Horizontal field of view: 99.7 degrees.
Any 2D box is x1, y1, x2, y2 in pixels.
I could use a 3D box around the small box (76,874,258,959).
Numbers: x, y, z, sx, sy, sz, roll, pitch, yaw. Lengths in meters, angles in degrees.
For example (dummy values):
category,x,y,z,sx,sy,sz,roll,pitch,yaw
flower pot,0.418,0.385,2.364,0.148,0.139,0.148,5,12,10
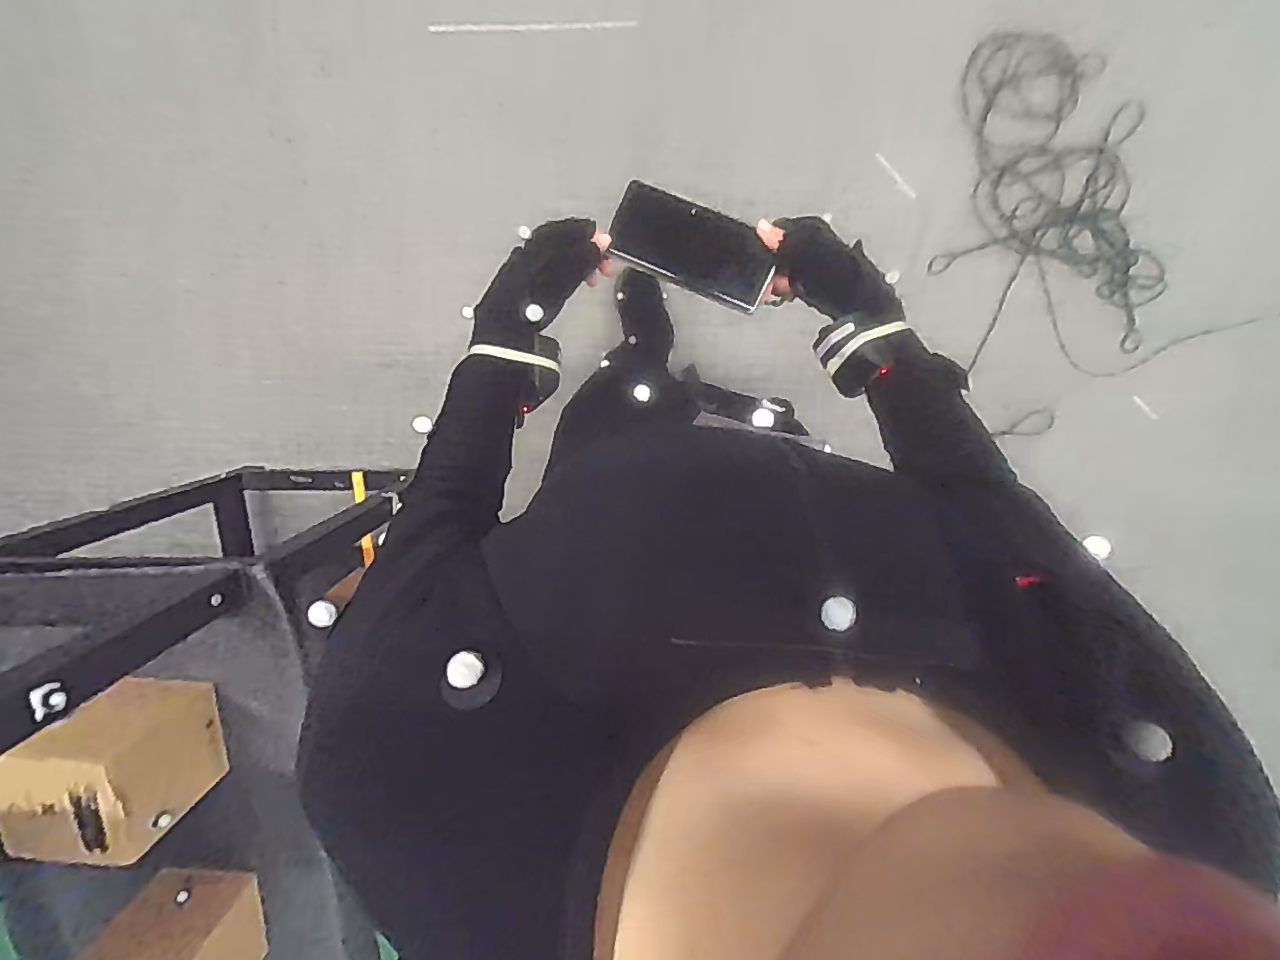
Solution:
category,x,y,z,sx,sy,sz,roll,pitch,yaw
small box,-0.737,0.767,0.846,0.168,0.176,0.179,3,104,0
